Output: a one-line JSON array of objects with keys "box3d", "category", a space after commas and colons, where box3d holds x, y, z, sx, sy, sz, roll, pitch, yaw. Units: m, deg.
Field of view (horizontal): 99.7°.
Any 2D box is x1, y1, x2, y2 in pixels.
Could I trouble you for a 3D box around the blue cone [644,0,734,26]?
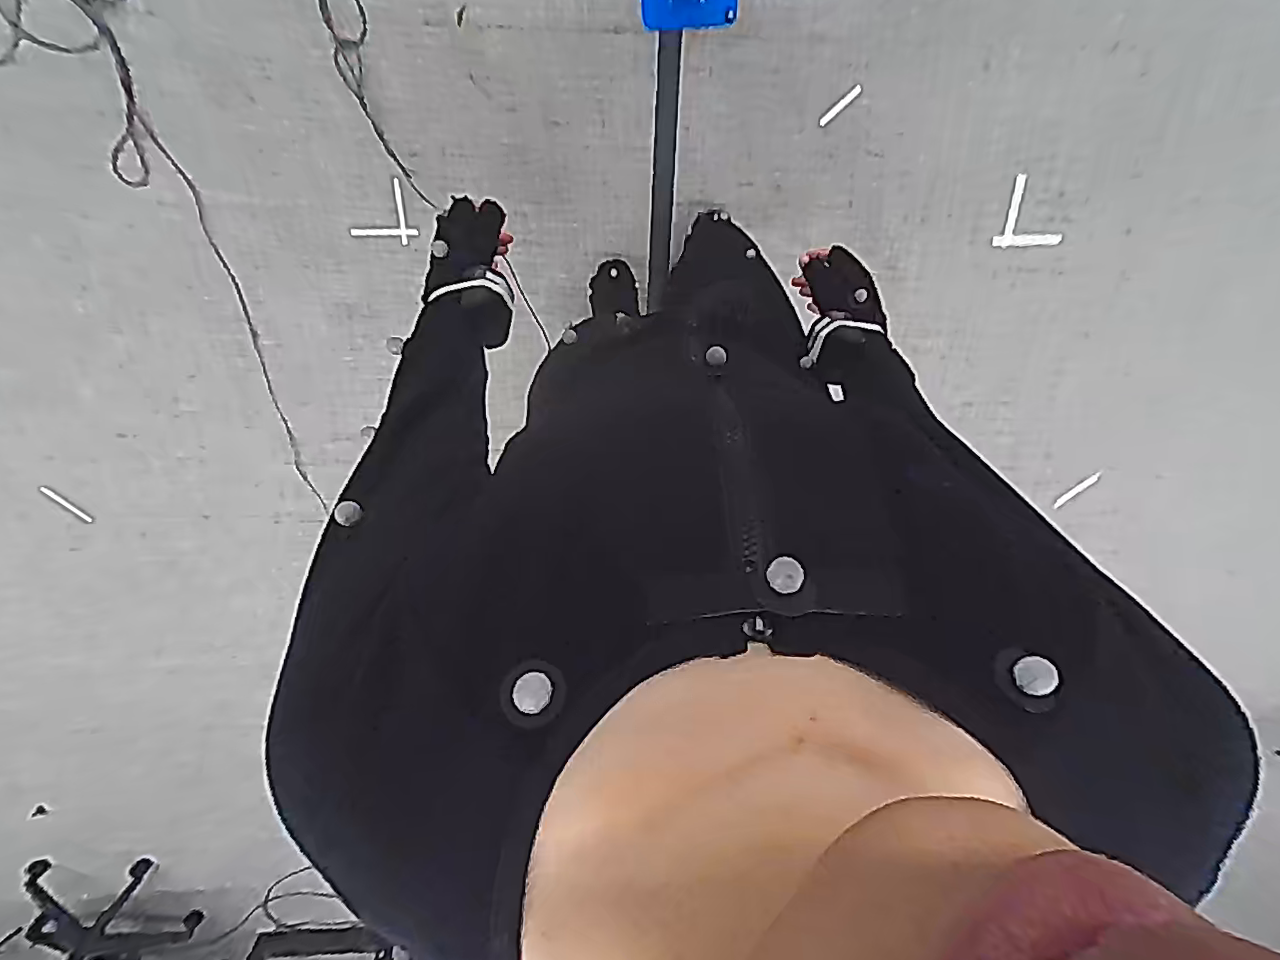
[{"box3d": [0.111, -0.968, 0.941, 0.192, 0.380, 0.193, -4, 115, -3], "category": "blue cone"}]
